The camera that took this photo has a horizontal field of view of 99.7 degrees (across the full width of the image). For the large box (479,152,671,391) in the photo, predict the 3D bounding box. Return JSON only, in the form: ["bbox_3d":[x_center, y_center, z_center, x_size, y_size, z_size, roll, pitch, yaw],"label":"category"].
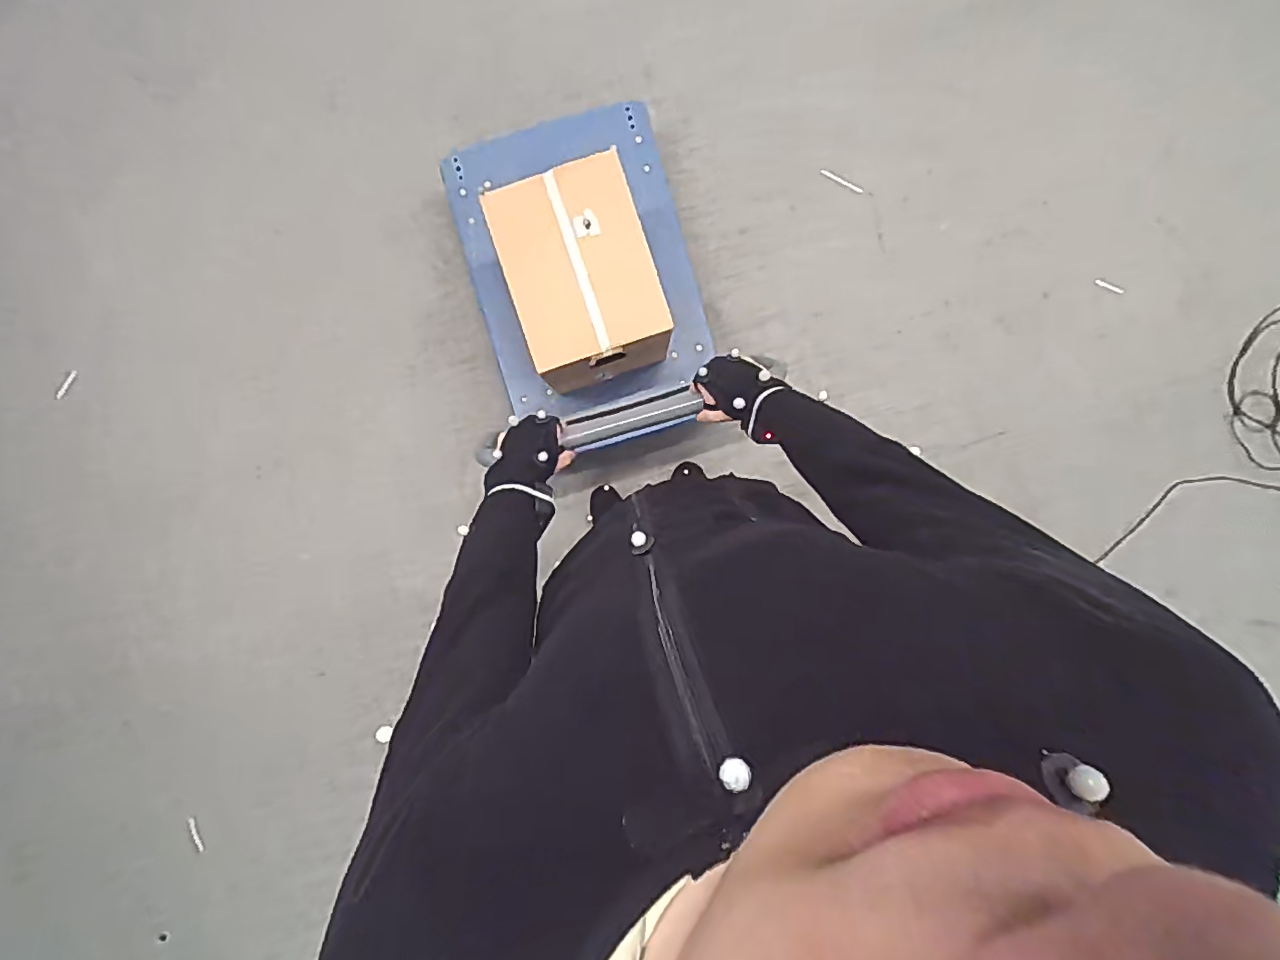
[{"bbox_3d":[-0.136,-0.472,1.313,0.320,0.320,0.408,-19,91,0],"label":"large box"}]
